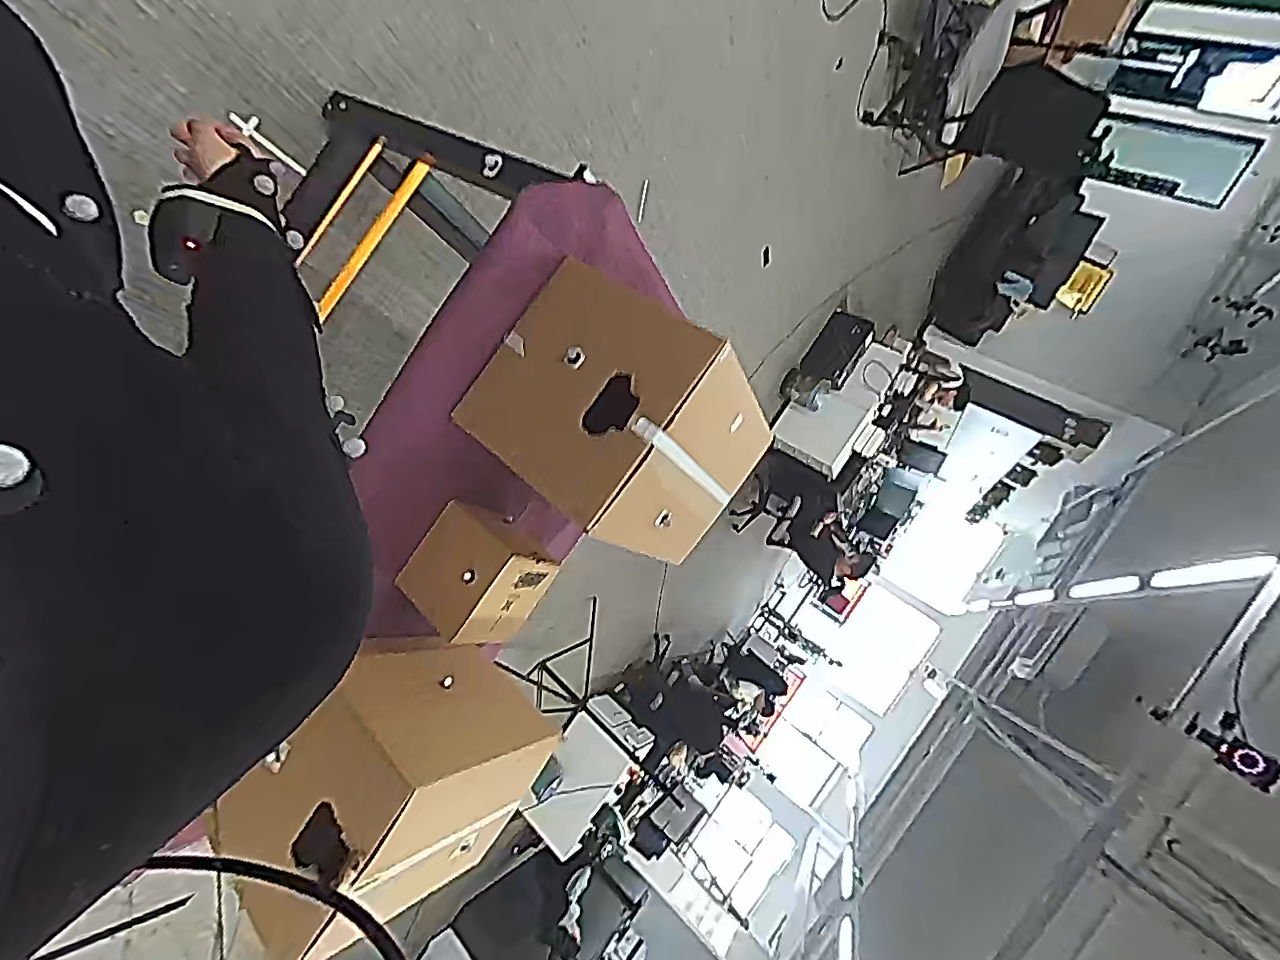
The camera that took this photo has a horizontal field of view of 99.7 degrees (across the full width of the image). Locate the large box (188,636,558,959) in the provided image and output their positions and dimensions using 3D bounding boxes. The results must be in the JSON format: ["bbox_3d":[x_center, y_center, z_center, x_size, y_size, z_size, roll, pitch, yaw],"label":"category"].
[{"bbox_3d":[-0.423,0.491,0.927,0.320,0.320,0.408,-55,156,0],"label":"large box"}]
